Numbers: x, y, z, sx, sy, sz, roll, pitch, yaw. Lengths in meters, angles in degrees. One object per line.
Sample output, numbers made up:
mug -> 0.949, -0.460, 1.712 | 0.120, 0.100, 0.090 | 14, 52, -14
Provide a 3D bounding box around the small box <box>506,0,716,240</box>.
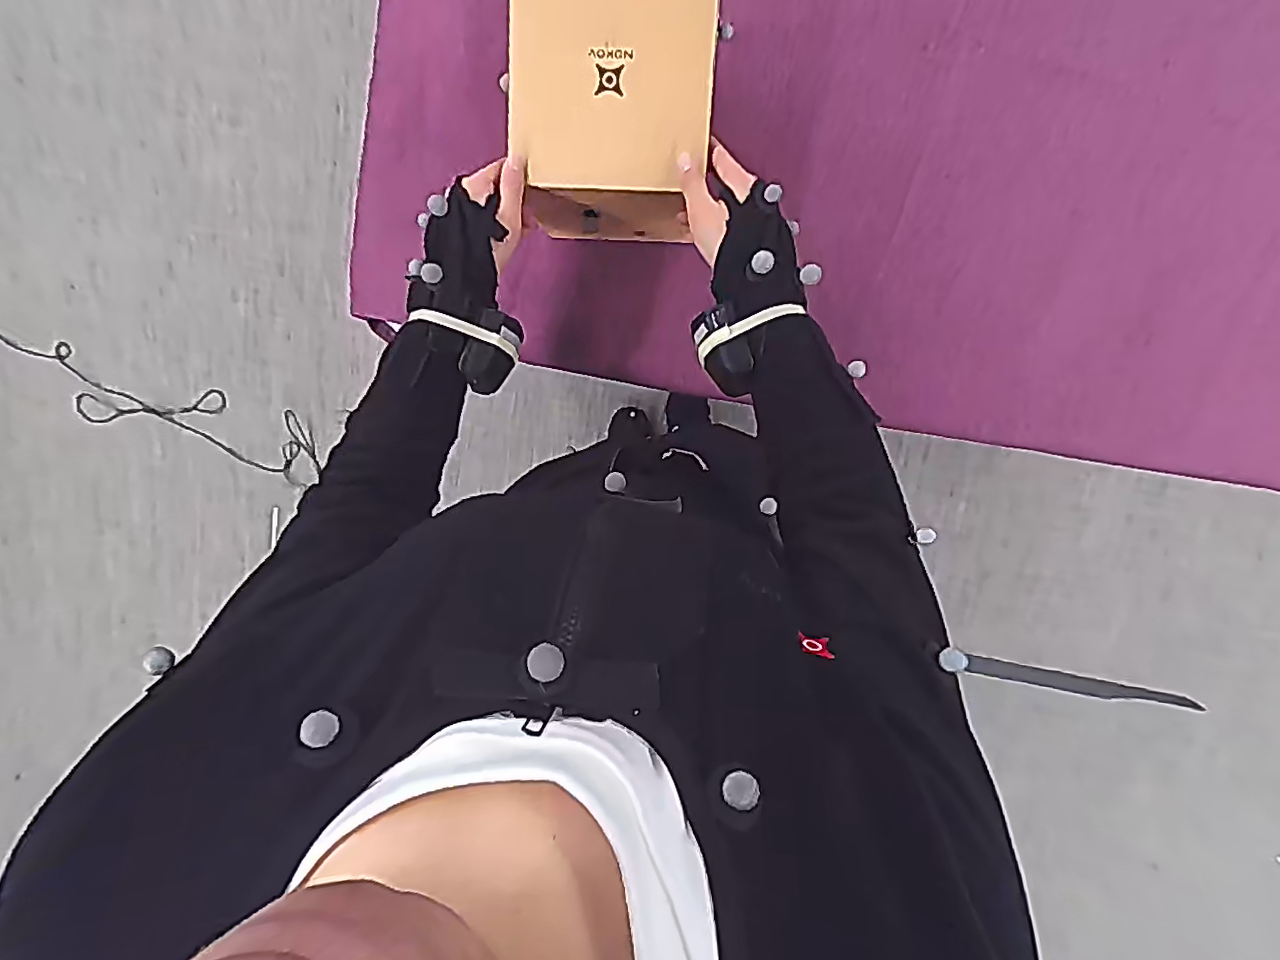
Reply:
small box -> -0.020, -0.338, 0.509 | 0.168, 0.176, 0.179 | 3, 99, 3
